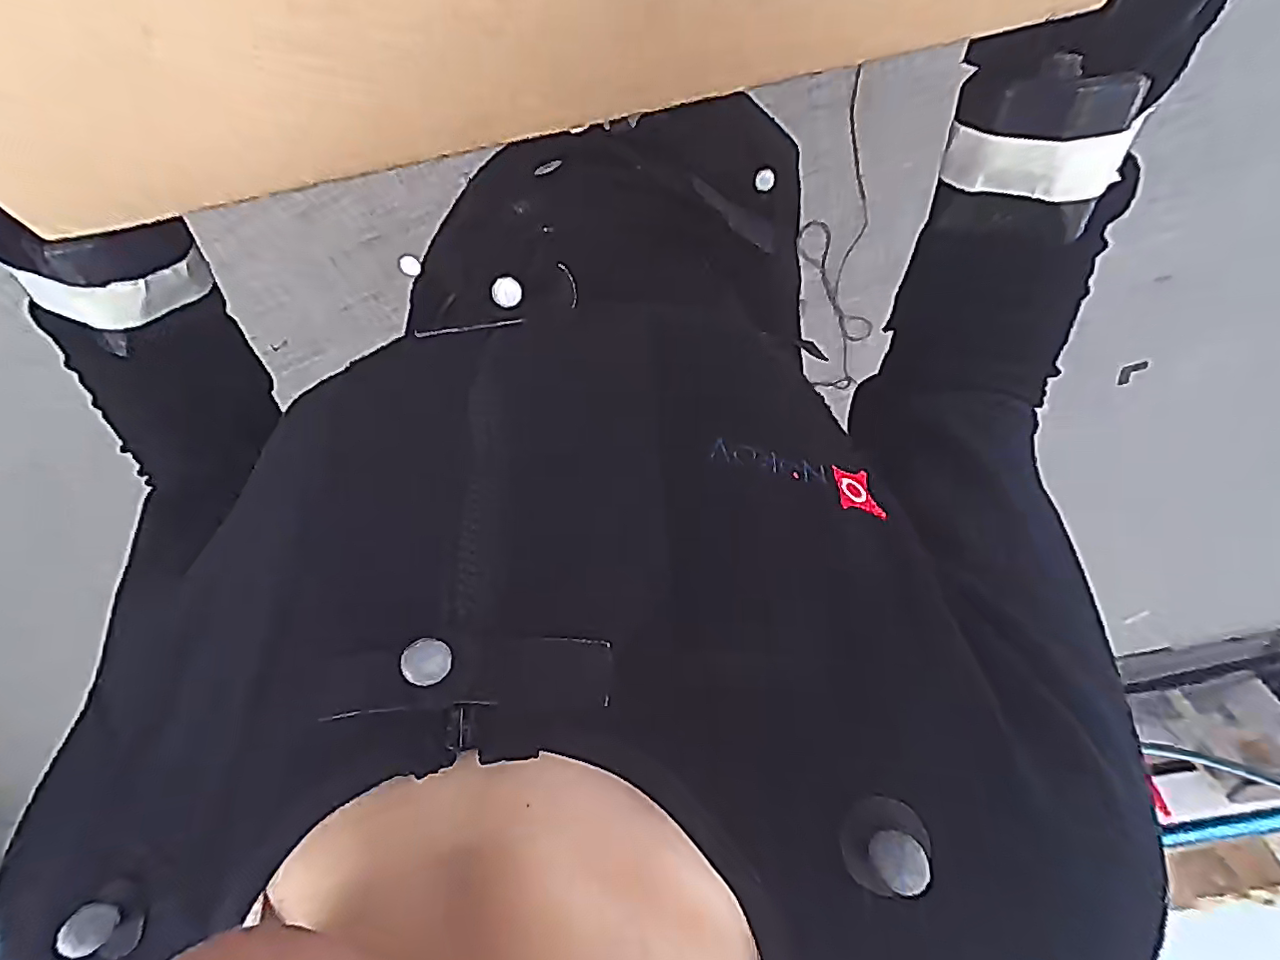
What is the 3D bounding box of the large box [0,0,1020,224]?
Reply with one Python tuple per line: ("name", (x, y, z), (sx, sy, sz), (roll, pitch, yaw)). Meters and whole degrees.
("large box", (-0.081, -0.346, 0.173), (0.408, 0.320, 0.320), (-8, 143, 6))
